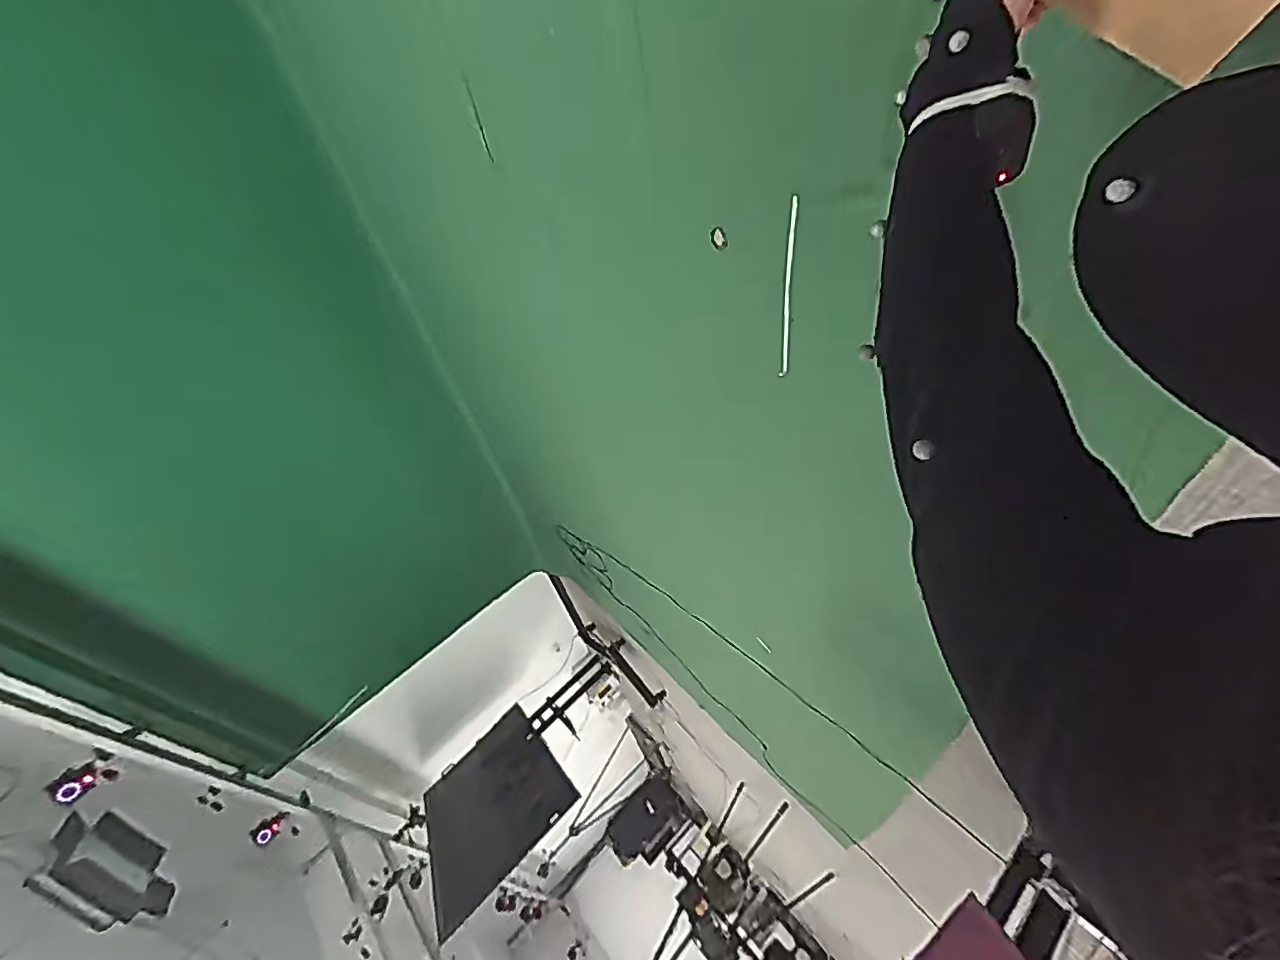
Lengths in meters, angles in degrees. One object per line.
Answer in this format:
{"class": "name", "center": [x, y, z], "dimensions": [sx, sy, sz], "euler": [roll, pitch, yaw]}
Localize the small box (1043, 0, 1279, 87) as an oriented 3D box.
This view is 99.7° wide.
{"class": "small box", "center": [0.434, -0.444, 0.397], "dimensions": [0.179, 0.176, 0.168], "euler": [44, 157, 10]}
